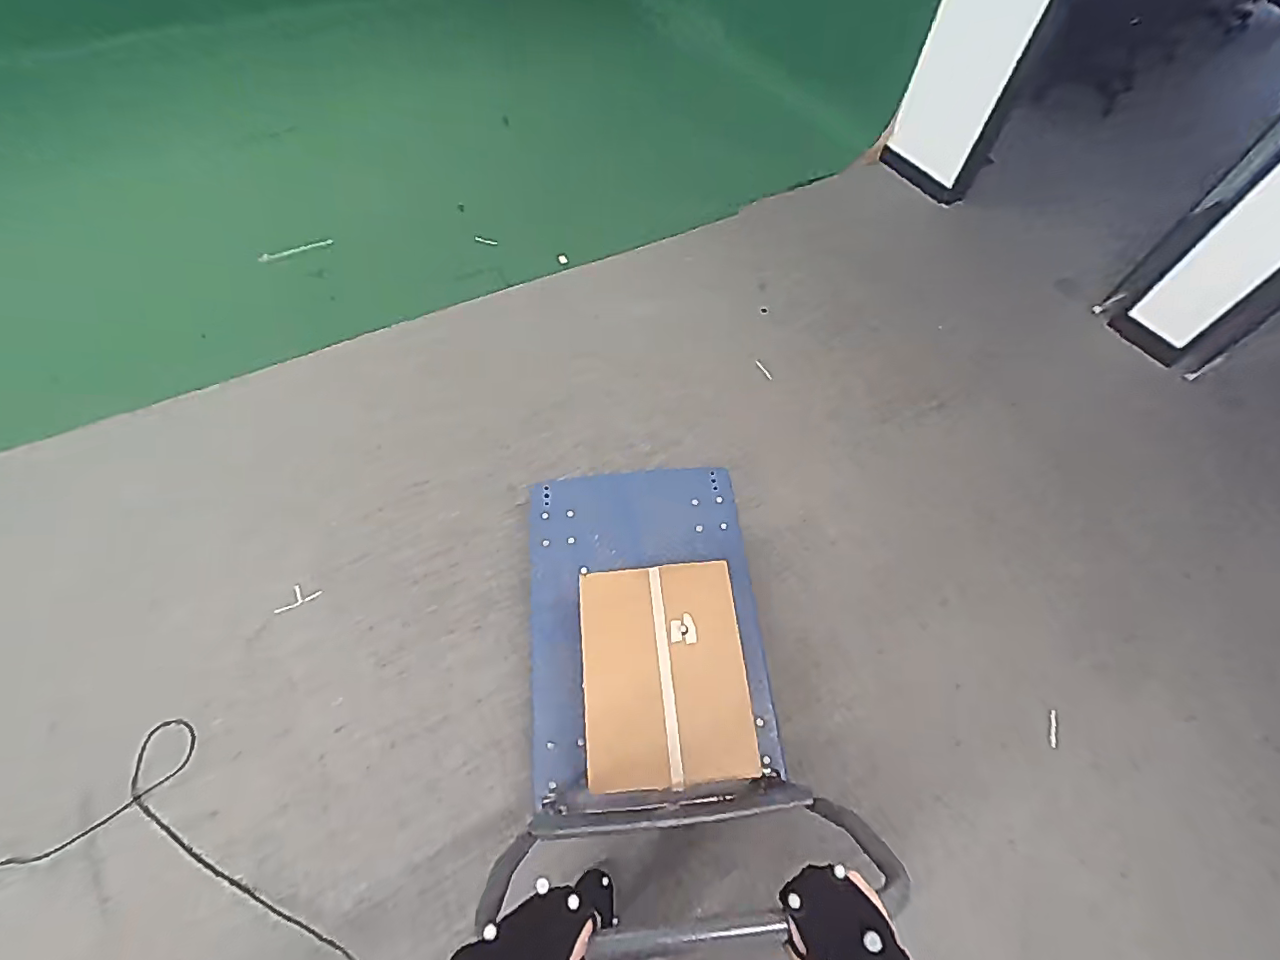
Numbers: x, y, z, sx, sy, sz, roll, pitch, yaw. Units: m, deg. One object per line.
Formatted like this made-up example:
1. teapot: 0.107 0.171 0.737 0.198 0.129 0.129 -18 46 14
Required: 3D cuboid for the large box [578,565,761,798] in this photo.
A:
1. large box: 0.046 0.439 1.175 0.320 0.320 0.408 -5 62 -3
